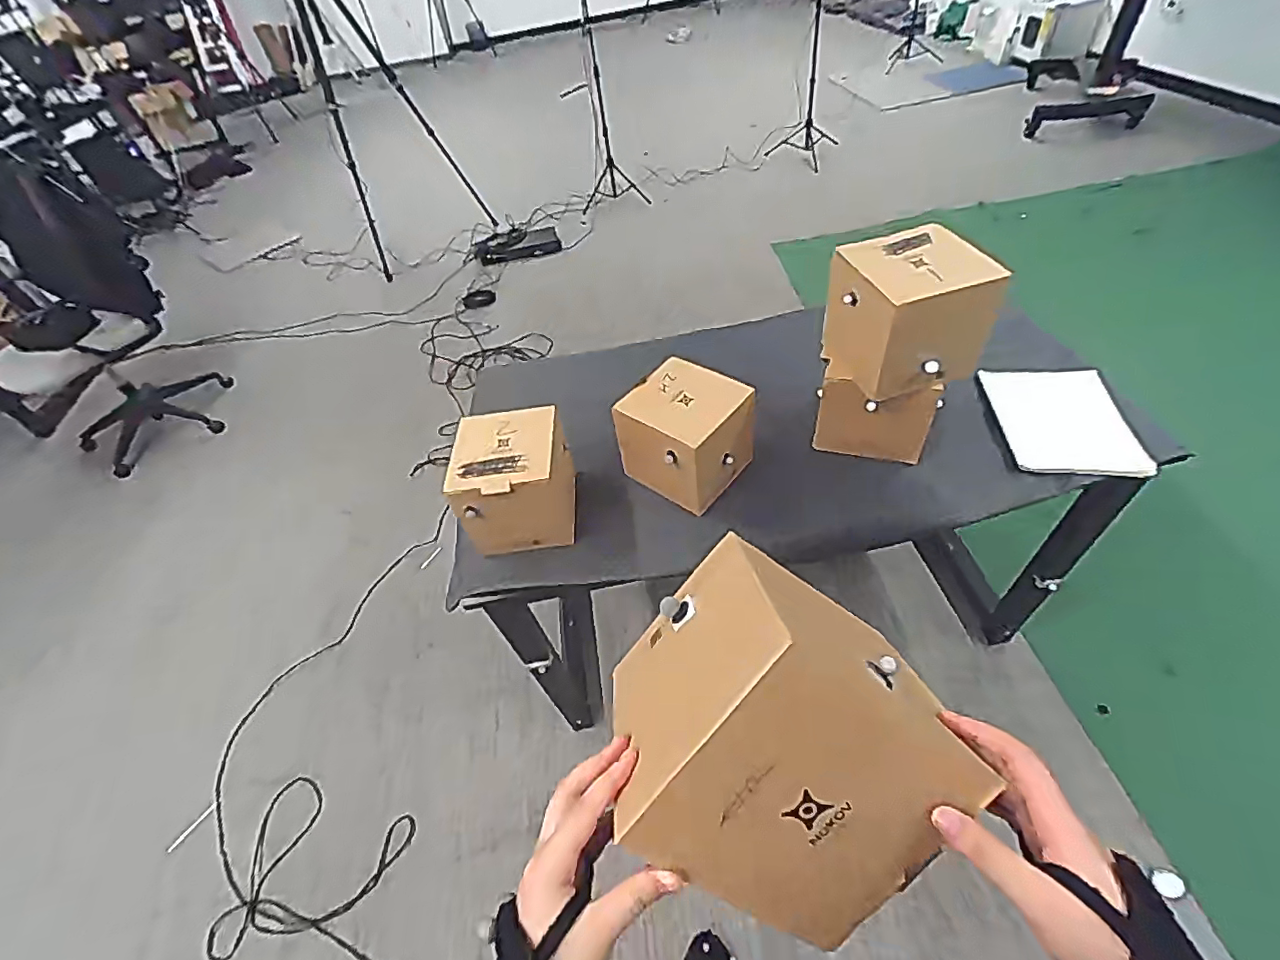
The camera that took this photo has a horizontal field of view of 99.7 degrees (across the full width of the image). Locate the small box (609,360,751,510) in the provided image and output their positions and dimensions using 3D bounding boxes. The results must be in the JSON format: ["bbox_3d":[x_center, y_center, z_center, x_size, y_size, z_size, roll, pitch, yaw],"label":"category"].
[{"bbox_3d":[0.074,-0.073,0.938,0.179,0.176,0.168,29,59,30],"label":"small box"}]

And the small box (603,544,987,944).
[{"bbox_3d":[0.090,0.173,0.399,0.168,0.179,0.176,-55,10,11],"label":"small box"}]

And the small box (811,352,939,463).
[{"bbox_3d":[0.409,-0.150,0.950,0.179,0.176,0.168,10,51,19],"label":"small box"}]

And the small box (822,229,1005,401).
[{"bbox_3d":[0.392,-0.248,0.818,0.168,0.176,0.179,-16,48,-3],"label":"small box"}]
